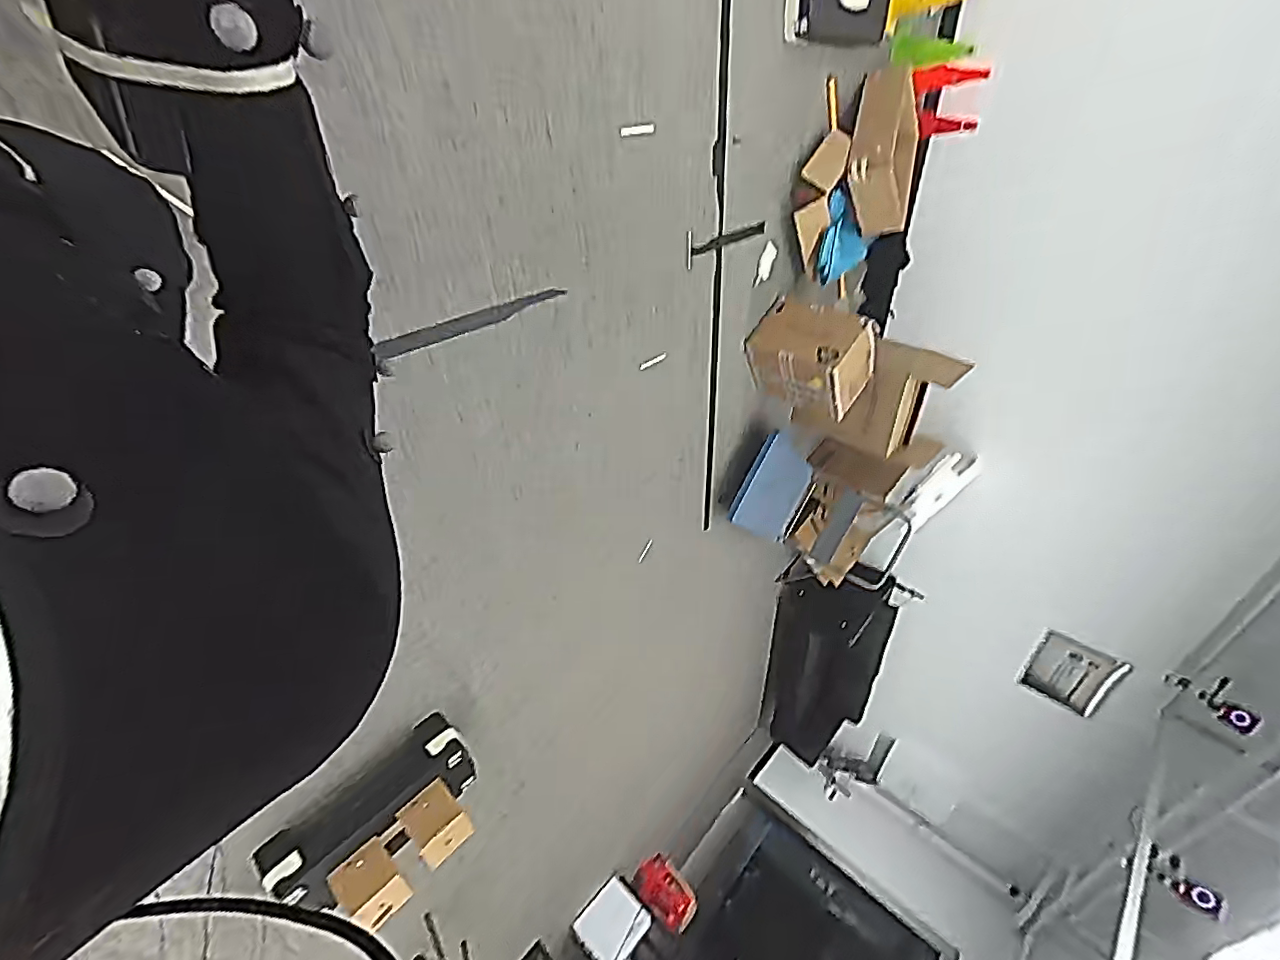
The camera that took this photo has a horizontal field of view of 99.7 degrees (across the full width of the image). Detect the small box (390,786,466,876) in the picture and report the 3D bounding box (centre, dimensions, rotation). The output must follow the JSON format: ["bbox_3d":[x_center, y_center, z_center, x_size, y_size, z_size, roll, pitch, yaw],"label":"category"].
[{"bbox_3d":[-0.734,1.208,1.874,0.168,0.176,0.179,-34,137,-37],"label":"small box"}]

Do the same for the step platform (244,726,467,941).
[{"bbox_3d":[-0.953,1.218,1.904,0.684,0.204,0.286,-35,138,-36],"label":"step platform"}]

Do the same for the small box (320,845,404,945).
[{"bbox_3d":[-0.897,1.331,1.745,0.168,0.176,0.179,-32,135,-37],"label":"small box"}]
